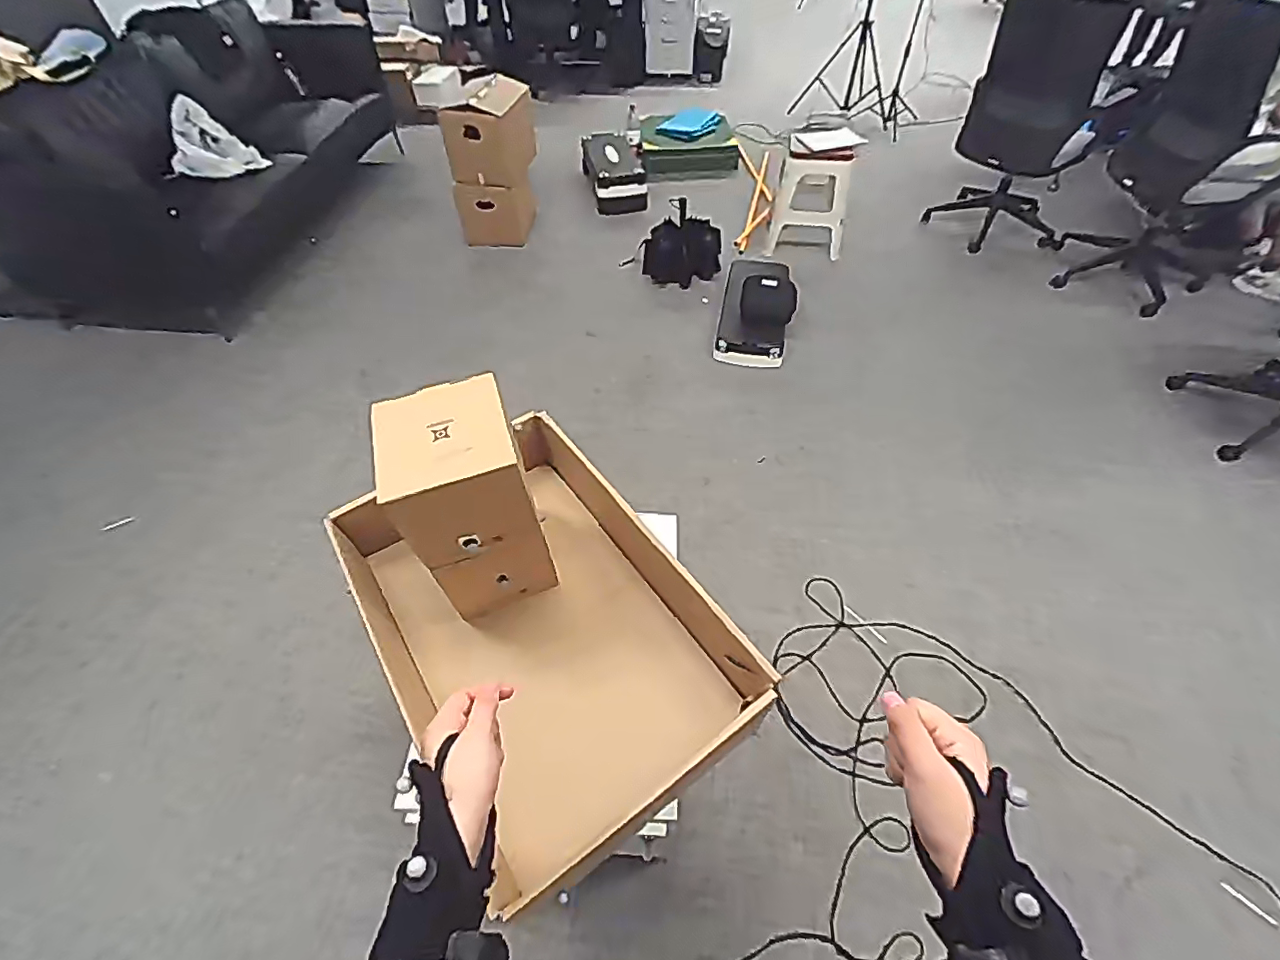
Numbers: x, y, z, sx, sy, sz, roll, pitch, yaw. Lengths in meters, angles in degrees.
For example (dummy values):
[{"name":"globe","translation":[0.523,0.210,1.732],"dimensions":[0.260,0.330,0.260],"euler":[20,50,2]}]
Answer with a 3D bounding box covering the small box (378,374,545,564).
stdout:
[{"name":"small box","translation":[-0.244,-0.013,0.754],"dimensions":[0.168,0.176,0.179],"euler":[-18,54,-9]}]
